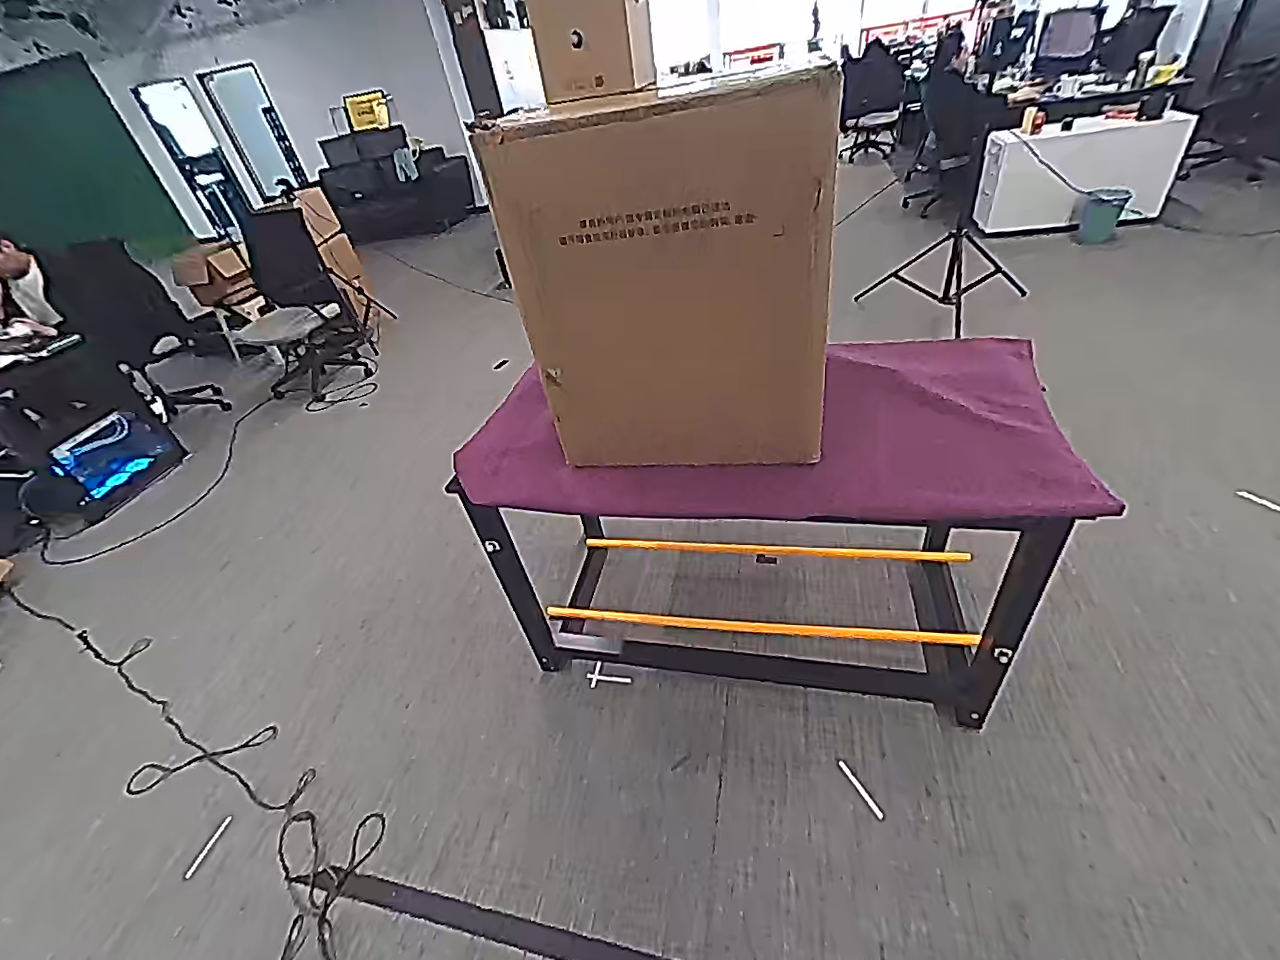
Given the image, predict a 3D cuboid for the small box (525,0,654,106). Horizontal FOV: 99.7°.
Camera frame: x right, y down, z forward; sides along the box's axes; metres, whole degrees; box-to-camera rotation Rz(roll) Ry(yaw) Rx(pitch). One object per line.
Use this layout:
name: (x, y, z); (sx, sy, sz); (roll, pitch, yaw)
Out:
small box: (-0.076, -0.765, 0.941); (0.168, 0.176, 0.179); (3, 39, 15)
